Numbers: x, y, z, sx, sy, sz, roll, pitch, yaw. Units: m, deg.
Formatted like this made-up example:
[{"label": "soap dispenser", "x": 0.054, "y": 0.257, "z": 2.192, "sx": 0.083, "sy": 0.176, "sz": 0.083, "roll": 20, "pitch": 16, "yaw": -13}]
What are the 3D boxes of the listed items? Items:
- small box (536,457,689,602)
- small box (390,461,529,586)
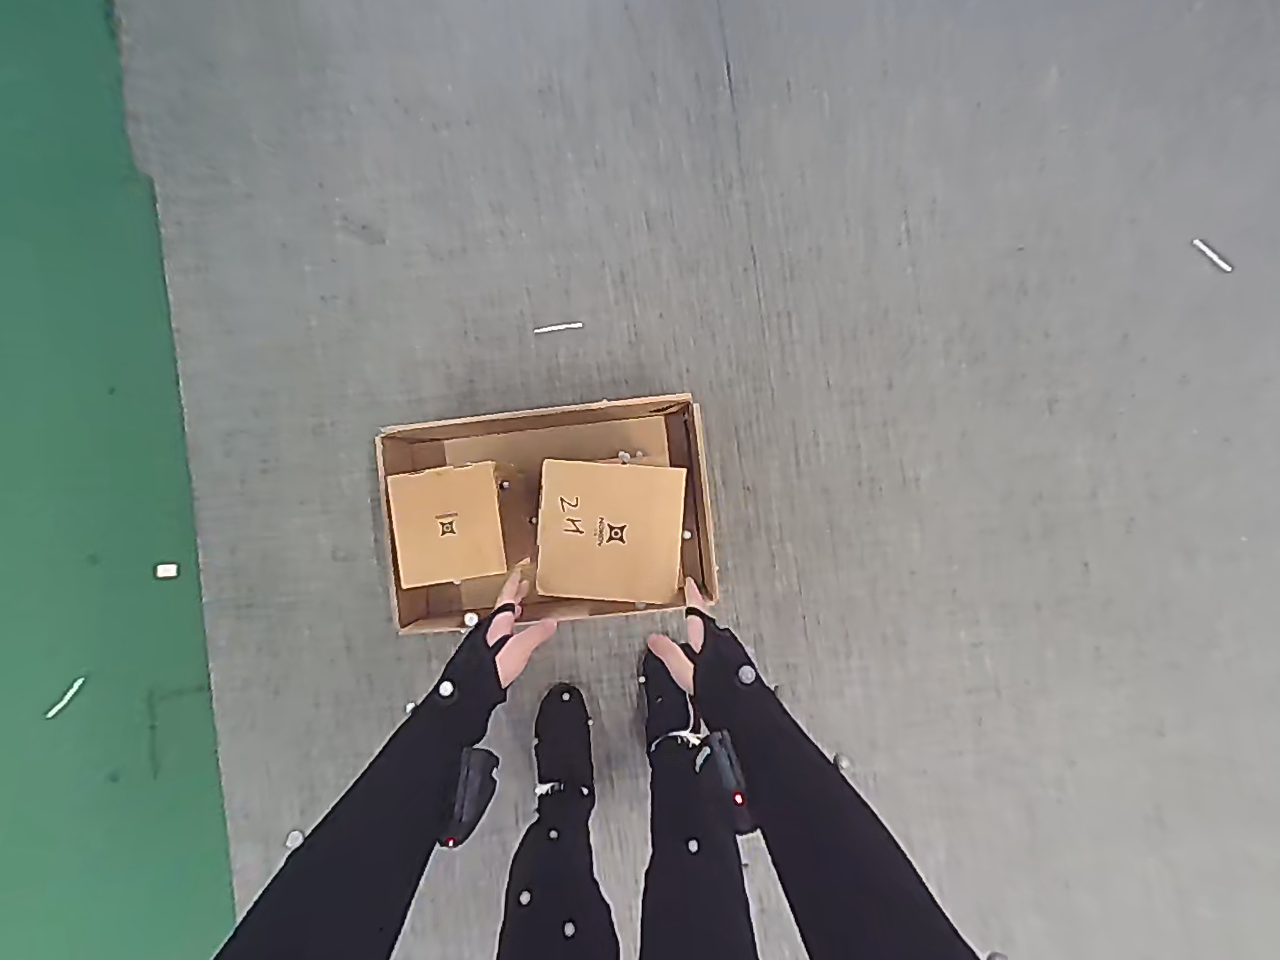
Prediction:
[{"label": "small box", "x": -0.031, "y": 0.059, "z": 0.729, "sx": 0.179, "sy": 0.176, "sz": 0.168, "roll": 4, "pitch": 90, "yaw": 3}, {"label": "small box", "x": -0.291, "y": 0.068, "z": 0.908, "sx": 0.168, "sy": 0.176, "sz": 0.179, "roll": -9, "pitch": 88, "yaw": 0}]
